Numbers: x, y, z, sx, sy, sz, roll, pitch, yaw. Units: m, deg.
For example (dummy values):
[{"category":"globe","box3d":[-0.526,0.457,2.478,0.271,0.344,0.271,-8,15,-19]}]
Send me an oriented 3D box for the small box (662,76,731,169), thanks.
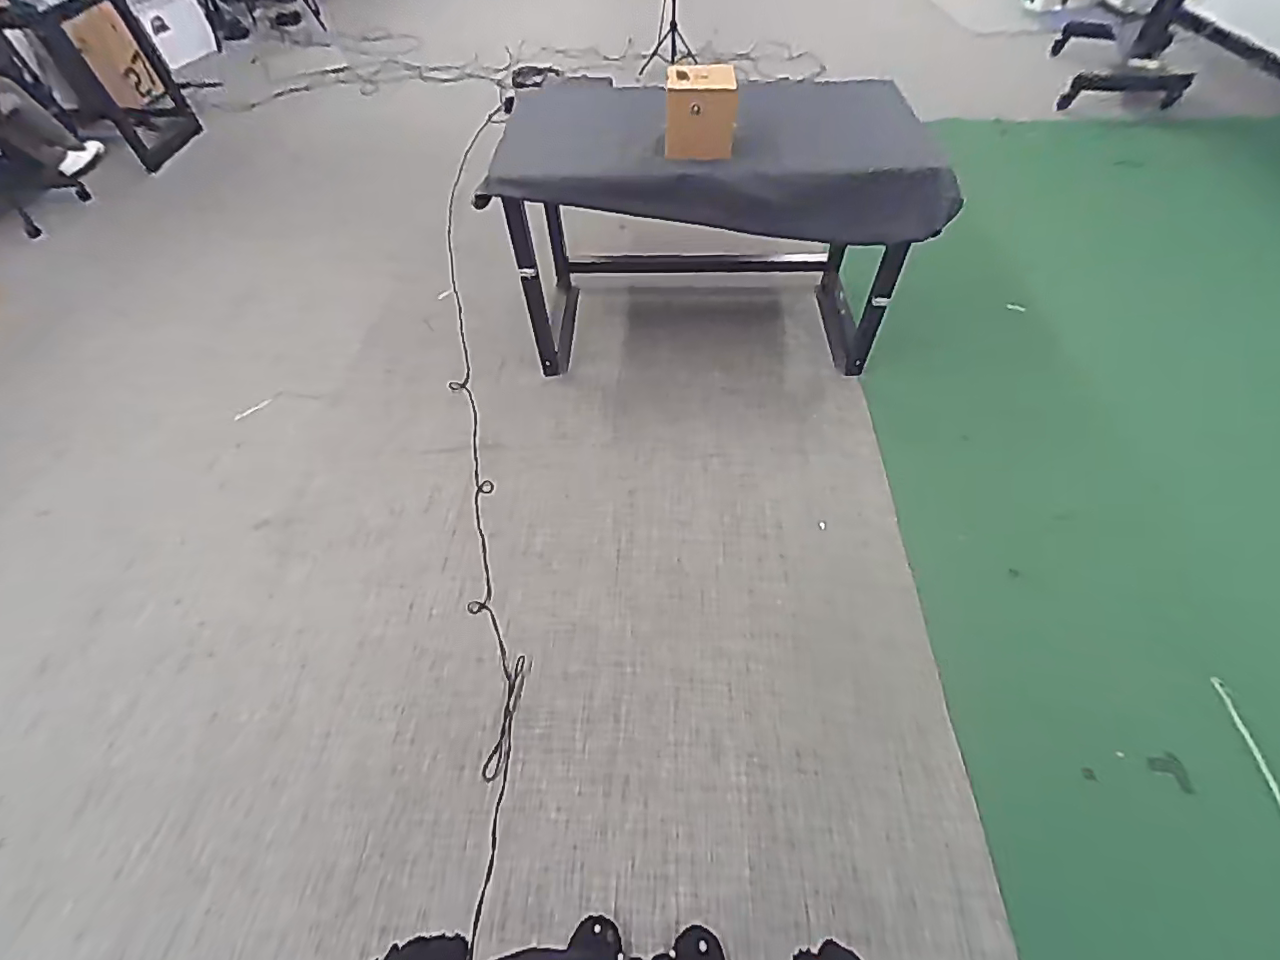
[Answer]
[{"category":"small box","box3d":[0.149,-0.961,1.459,0.179,0.176,0.168,1,54,2]}]
